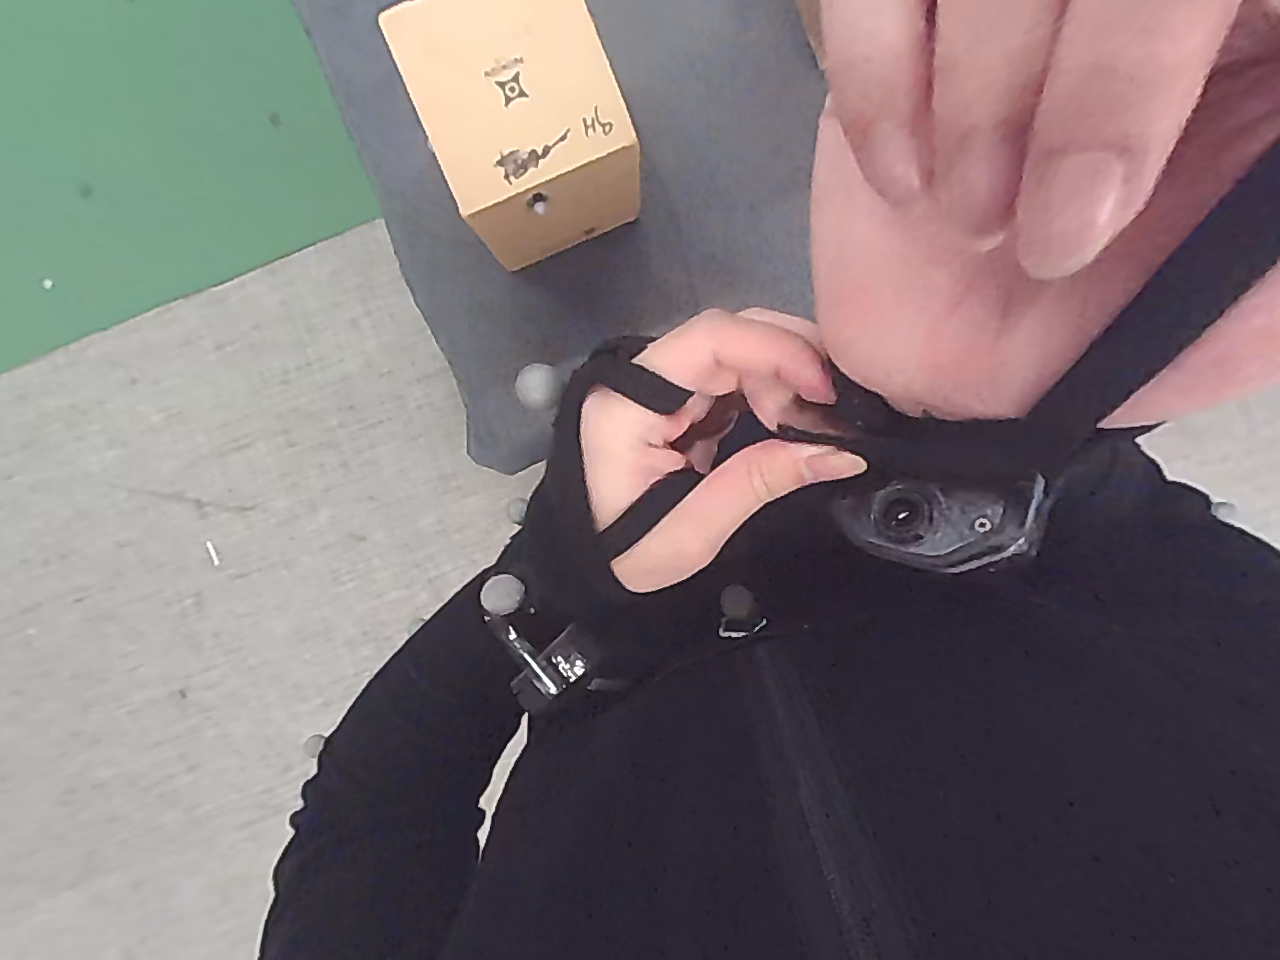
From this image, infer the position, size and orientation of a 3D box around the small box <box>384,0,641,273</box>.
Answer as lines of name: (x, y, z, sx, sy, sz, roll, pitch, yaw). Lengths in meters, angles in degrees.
small box: (-0.106, -0.335, 0.530, 0.168, 0.176, 0.179, -23, 95, 3)

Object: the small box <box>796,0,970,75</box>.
small box: (0.243, -0.545, 0.510, 0.168, 0.176, 0.179, -23, 97, 4)
